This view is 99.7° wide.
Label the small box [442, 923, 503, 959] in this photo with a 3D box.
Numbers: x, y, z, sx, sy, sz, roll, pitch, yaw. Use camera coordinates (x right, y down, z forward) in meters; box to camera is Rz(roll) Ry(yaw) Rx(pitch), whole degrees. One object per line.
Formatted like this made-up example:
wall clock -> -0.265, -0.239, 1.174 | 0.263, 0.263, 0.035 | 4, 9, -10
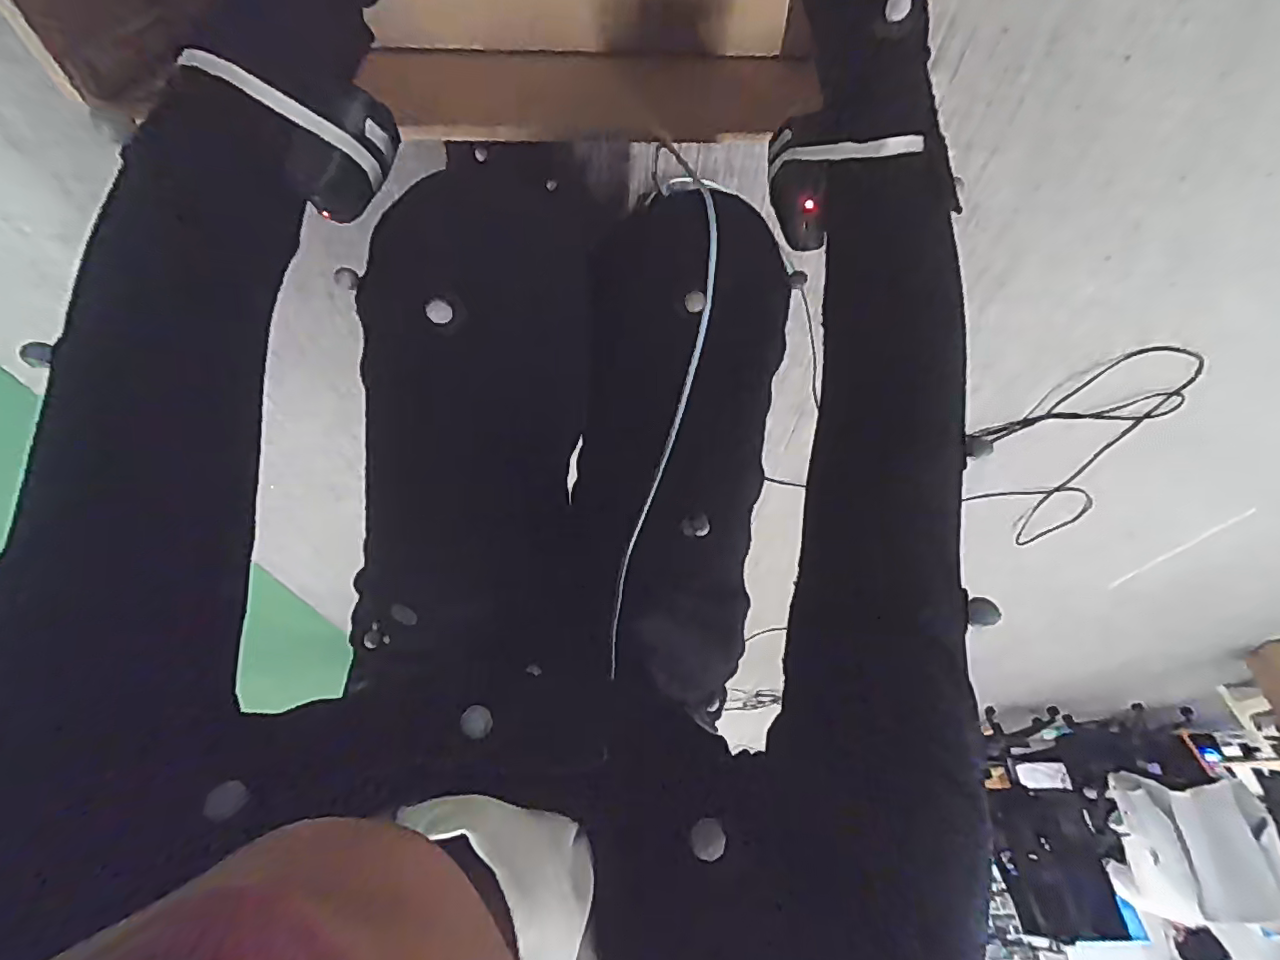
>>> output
small box -> -0.540, 1.548, 1.735 | 0.168, 0.176, 0.179 | 2, 148, -4
